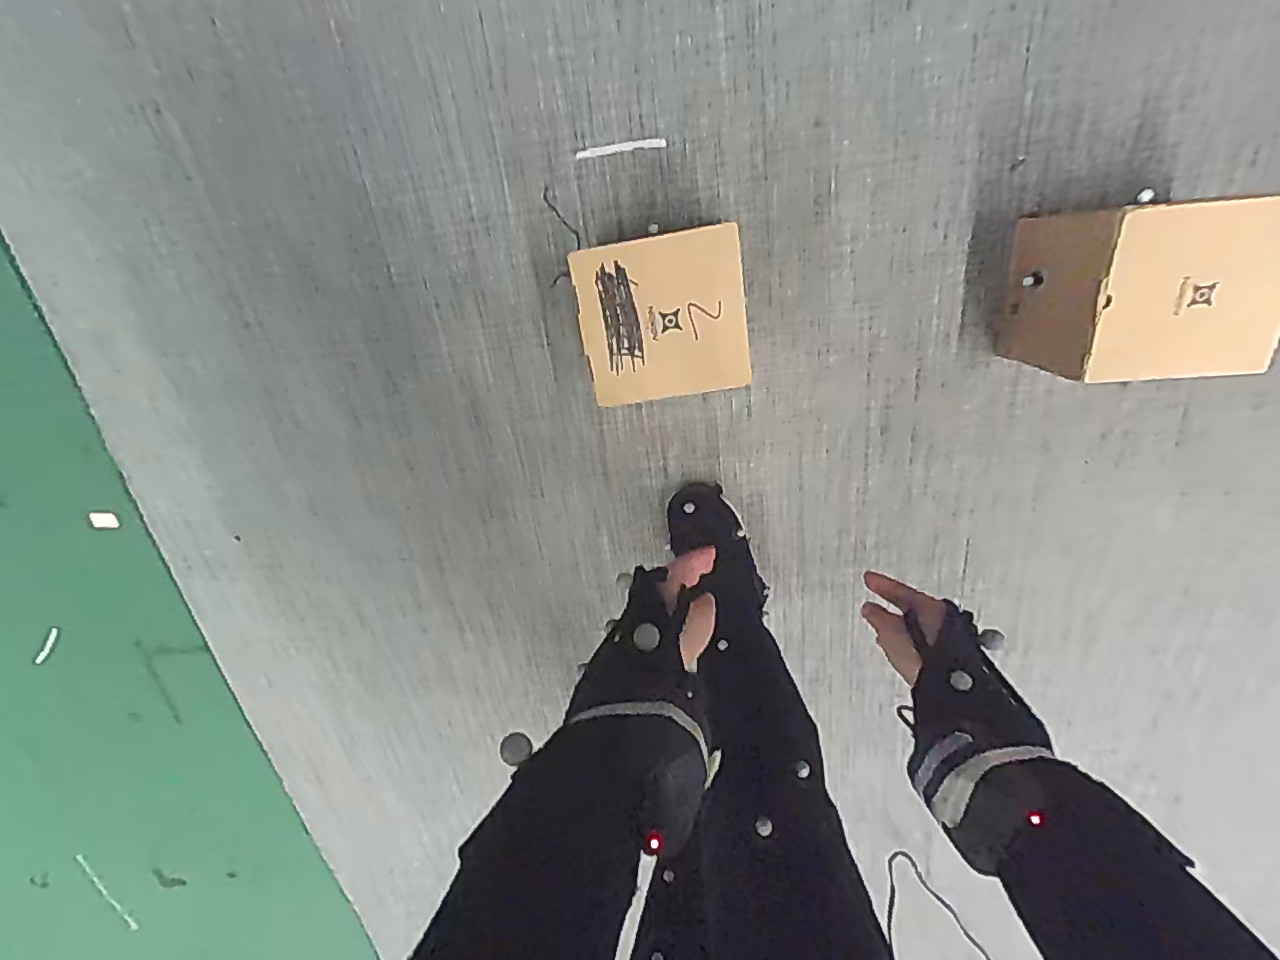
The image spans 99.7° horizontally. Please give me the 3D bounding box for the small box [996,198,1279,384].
[{"bbox_3d":[0.536,-0.209,0.592,0.179,0.176,0.168,-2,113,6],"label":"small box"}]
